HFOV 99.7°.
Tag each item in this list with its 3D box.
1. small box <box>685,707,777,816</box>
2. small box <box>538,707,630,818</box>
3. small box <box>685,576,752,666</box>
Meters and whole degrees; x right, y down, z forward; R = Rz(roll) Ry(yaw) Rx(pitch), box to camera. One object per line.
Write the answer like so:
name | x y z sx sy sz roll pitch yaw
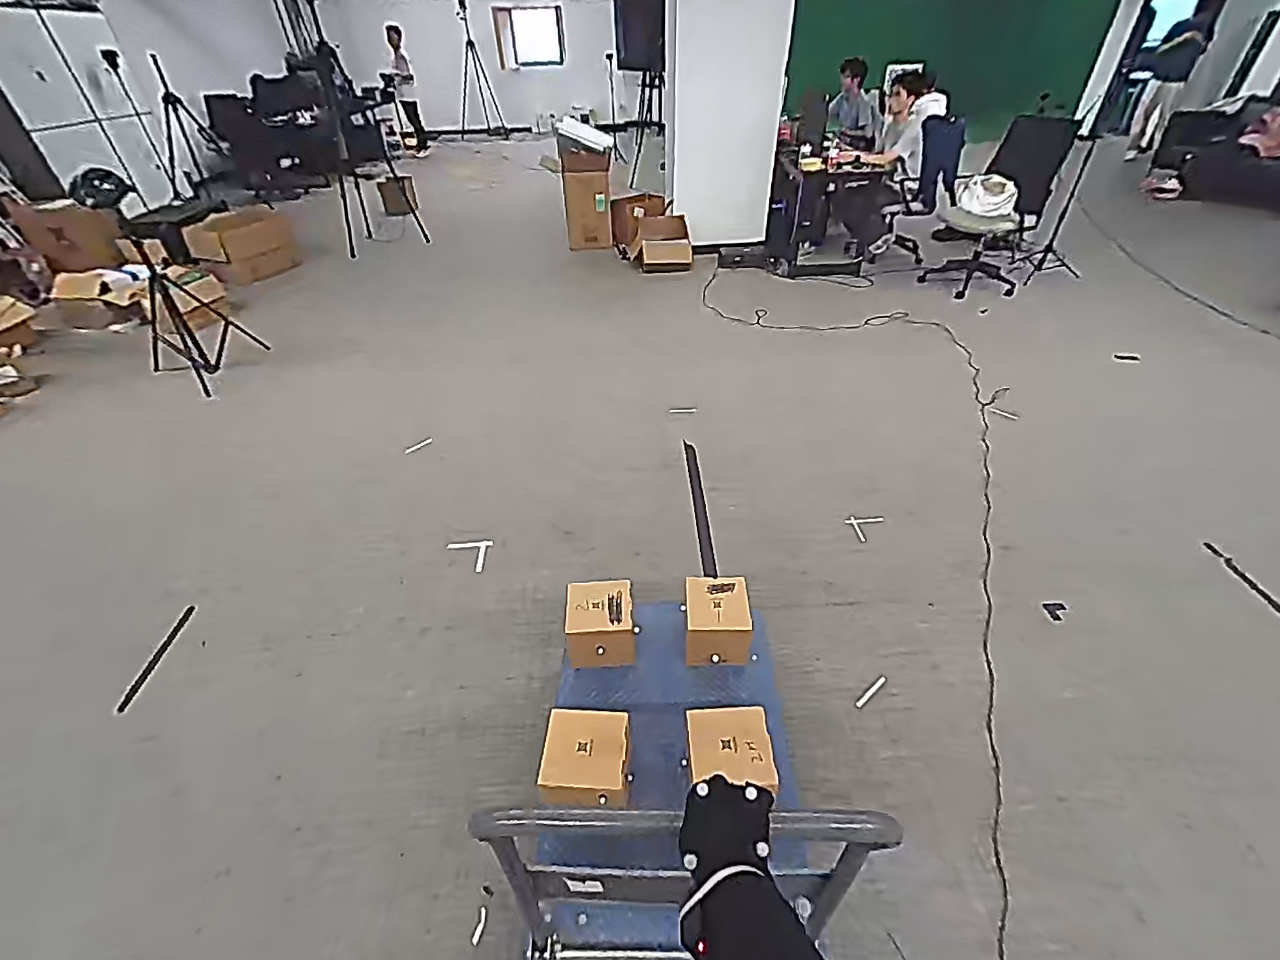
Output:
small box | 0.194 0.626 1.200 0.179 0.176 0.168 -2 39 0
small box | -0.116 0.632 1.207 0.179 0.176 0.168 2 39 3
small box | 0.210 0.388 1.491 0.168 0.176 0.179 0 40 3
